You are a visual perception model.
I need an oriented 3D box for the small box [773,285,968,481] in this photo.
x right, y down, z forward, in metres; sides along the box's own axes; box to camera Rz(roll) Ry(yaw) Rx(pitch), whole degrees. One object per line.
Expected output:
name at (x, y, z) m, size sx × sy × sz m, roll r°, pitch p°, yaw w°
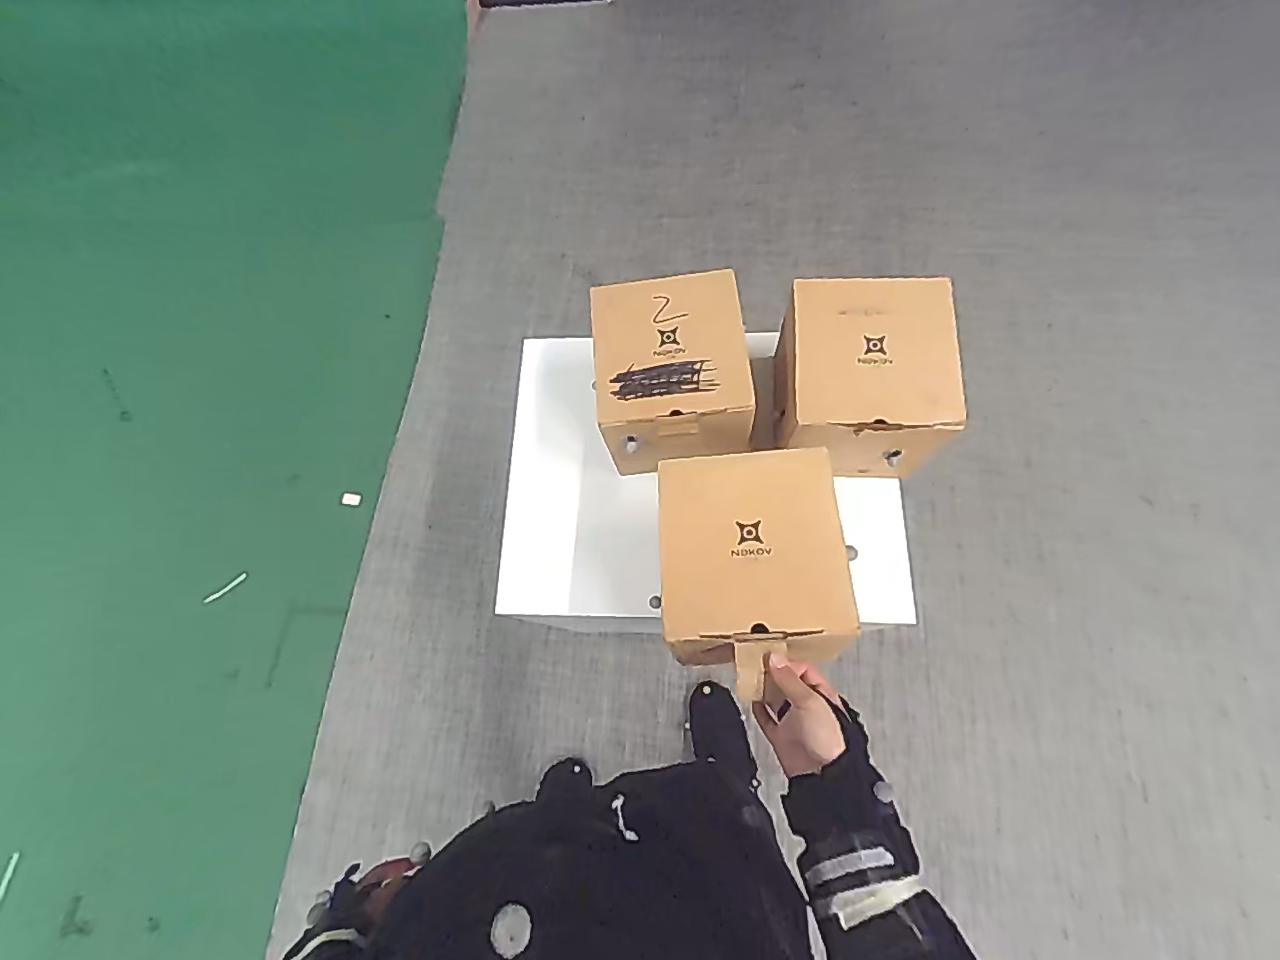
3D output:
small box at (0.253, -0.103, 0.636) m, size 0.168 × 0.176 × 0.179 m, roll 1°, pitch 71°, yaw 6°

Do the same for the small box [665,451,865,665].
small box at (0.116, 0.089, 0.561) m, size 0.168 × 0.176 × 0.179 m, roll -5°, pitch 65°, yaw 8°
